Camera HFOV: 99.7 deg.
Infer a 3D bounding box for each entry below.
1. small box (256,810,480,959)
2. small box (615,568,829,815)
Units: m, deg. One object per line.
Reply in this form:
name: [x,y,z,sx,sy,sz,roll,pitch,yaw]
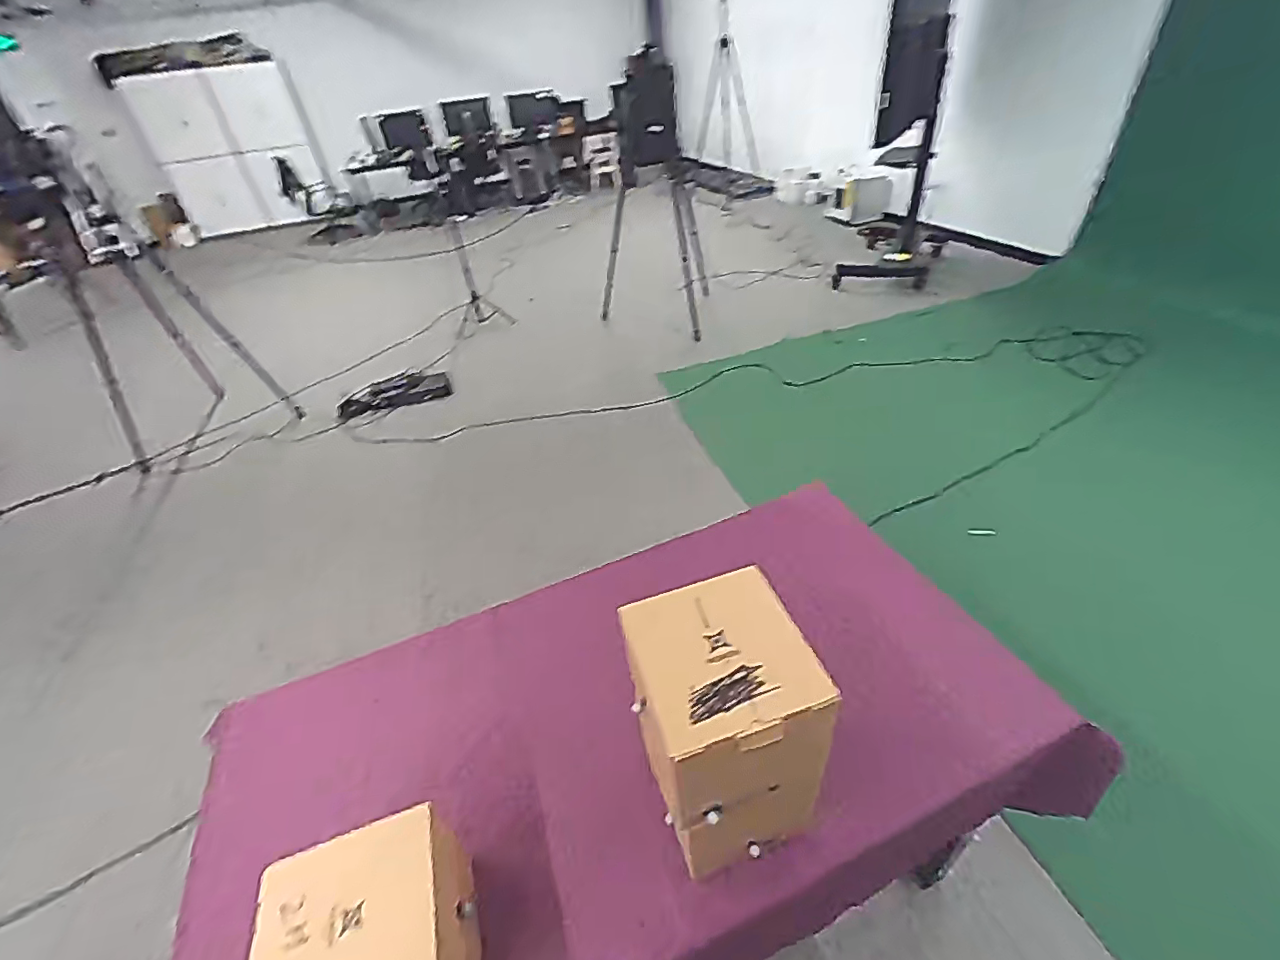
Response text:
small box: [-0.281,0.506,0.586,0.179,0.176,0.168,-18,38,-12]
small box: [0.084,0.233,0.591,0.168,0.176,0.179,-16,38,-9]
